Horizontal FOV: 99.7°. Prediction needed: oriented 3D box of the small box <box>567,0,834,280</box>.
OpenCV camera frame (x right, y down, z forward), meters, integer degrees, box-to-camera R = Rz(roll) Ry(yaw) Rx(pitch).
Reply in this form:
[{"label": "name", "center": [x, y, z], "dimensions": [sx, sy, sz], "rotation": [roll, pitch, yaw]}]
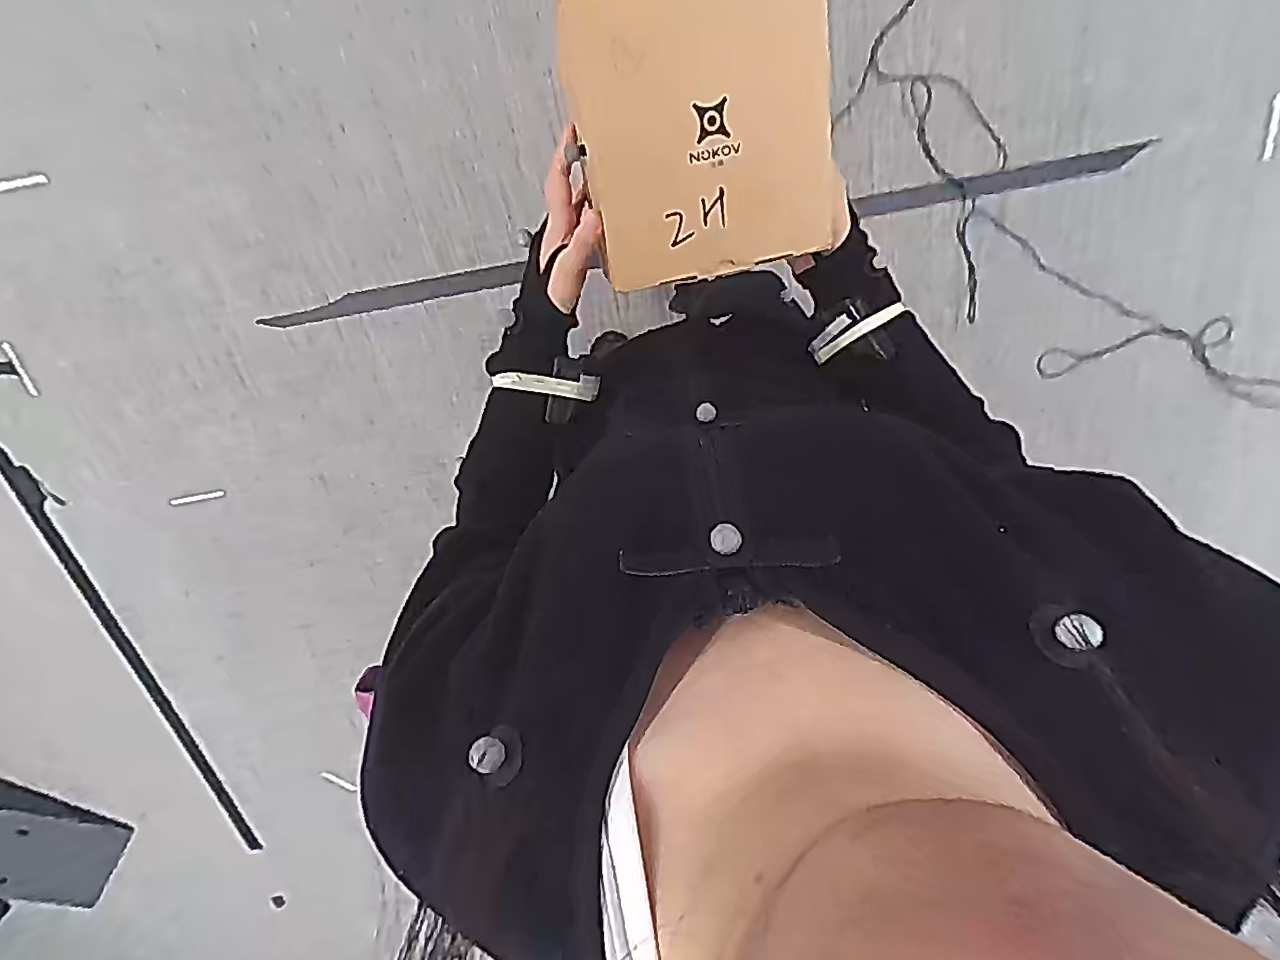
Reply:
[{"label": "small box", "center": [0.039, -0.271, 0.433], "dimensions": [0.168, 0.176, 0.179], "rotation": [-13, 116, -2]}]
